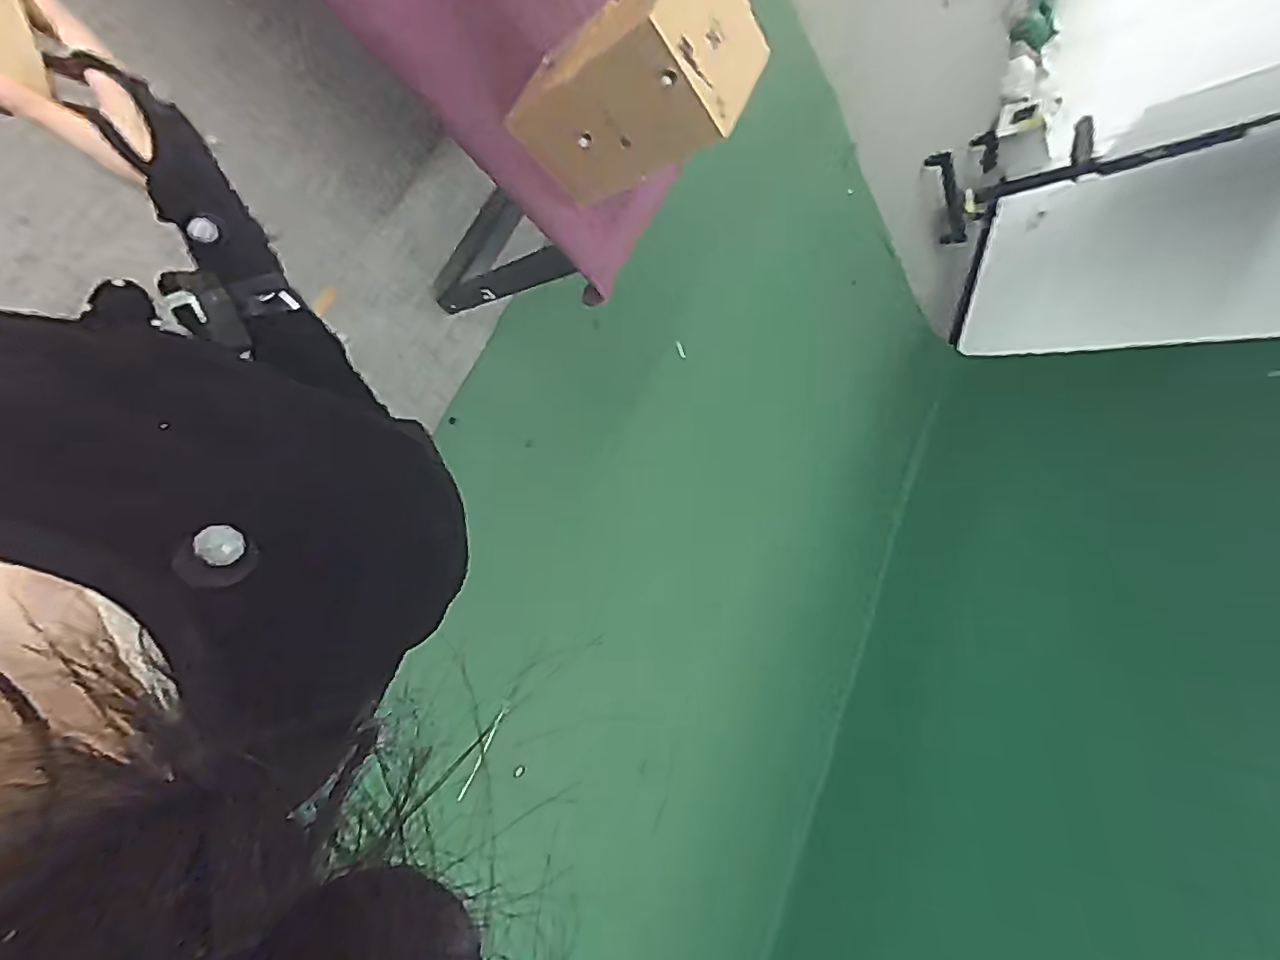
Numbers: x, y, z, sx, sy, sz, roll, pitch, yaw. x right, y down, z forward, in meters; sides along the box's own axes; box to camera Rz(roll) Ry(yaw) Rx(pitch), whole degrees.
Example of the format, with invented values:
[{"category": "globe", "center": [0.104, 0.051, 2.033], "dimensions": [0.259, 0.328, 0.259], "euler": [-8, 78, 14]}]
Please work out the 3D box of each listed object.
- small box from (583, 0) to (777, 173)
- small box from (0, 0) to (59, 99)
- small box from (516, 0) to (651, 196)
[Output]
[{"category": "small box", "center": [0.051, -0.565, 0.731], "dimensions": [0.168, 0.176, 0.179], "euler": [37, 72, -36]}, {"category": "small box", "center": [-0.484, -0.334, 0.307], "dimensions": [0.179, 0.176, 0.168], "euler": [-20, 125, -38]}, {"category": "small box", "center": [-0.059, -0.581, 0.852], "dimensions": [0.179, 0.176, 0.168], "euler": [36, 73, -37]}]
